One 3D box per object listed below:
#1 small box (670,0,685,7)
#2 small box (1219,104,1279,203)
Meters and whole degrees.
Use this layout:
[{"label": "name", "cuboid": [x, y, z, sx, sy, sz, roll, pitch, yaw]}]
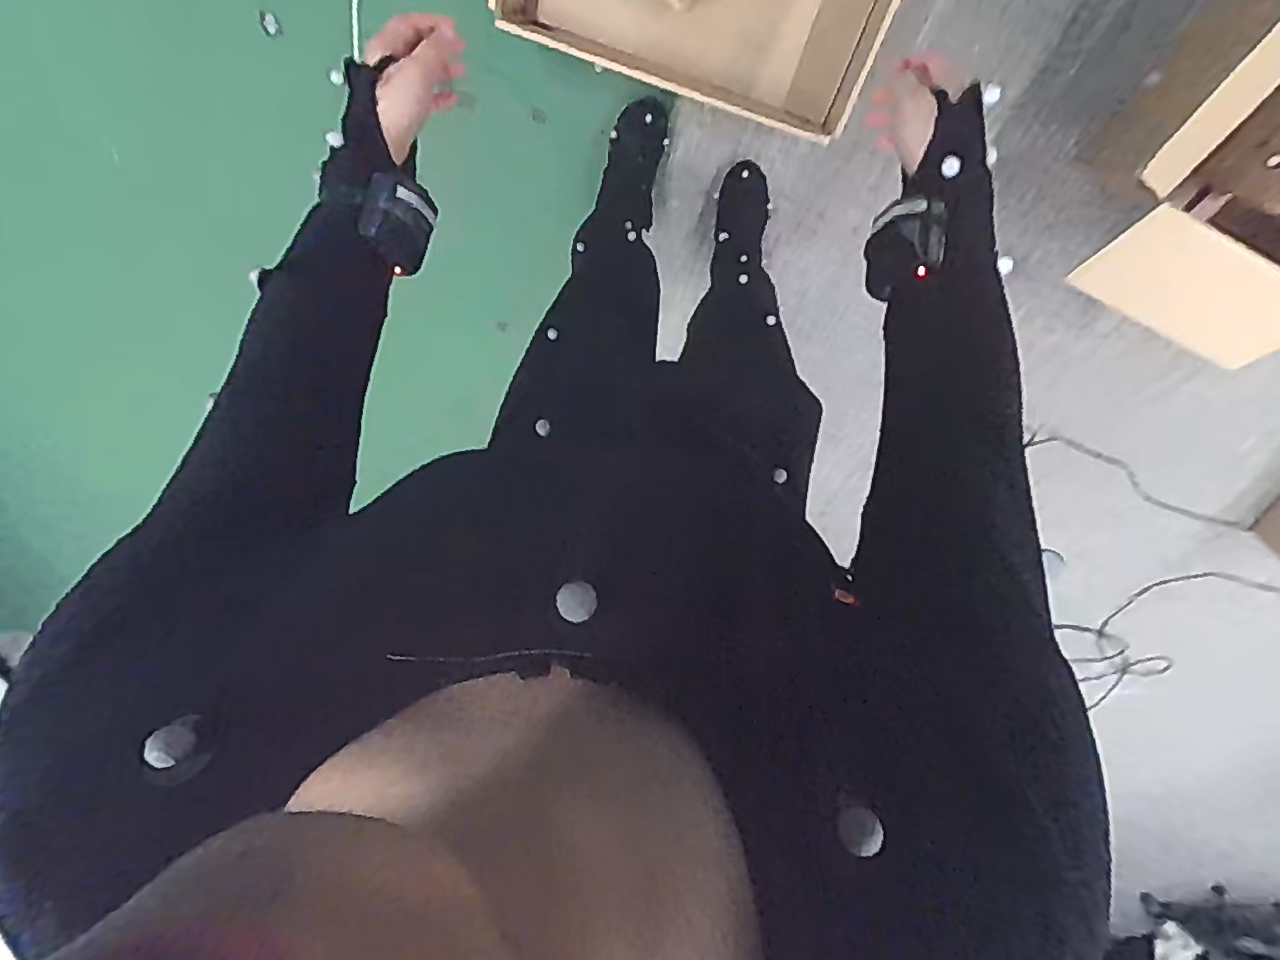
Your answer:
[{"label": "small box", "cuboid": [0.035, -0.870, 0.825, 0.179, 0.176, 0.168, 26, 128, -13]}, {"label": "small box", "cuboid": [1.028, -0.484, 0.781, 0.179, 0.176, 0.168, 20, 132, -7]}]
